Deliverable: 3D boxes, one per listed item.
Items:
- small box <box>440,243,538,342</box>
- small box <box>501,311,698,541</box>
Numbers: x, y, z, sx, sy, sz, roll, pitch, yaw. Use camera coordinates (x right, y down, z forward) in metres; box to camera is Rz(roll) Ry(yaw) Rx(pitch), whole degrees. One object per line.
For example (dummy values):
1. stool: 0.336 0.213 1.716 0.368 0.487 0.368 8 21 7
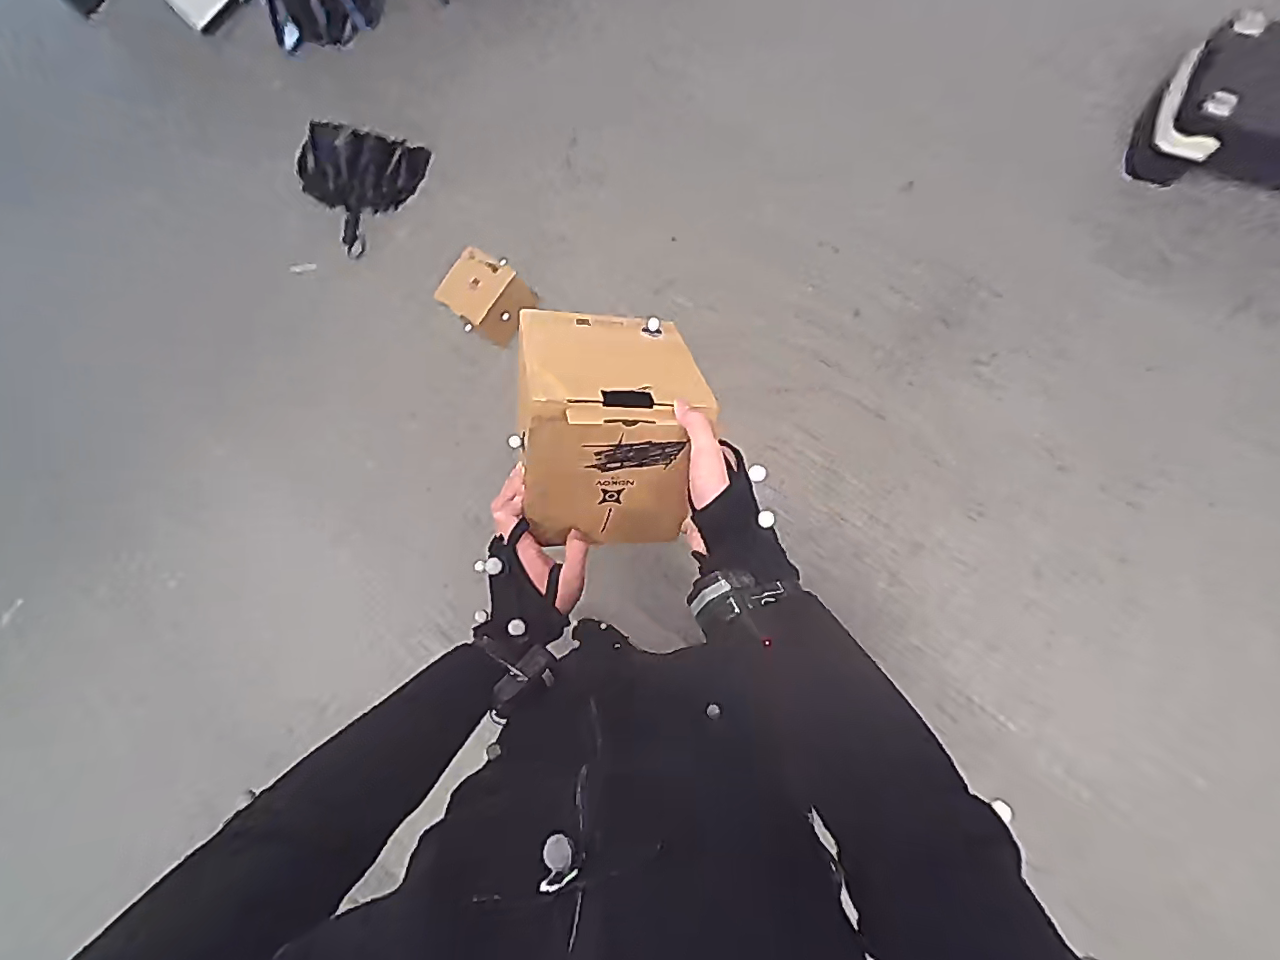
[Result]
1. small box: -0.413 -0.515 1.517 0.168 0.176 0.179 35 89 12
2. small box: -0.057 -0.058 0.561 0.168 0.179 0.176 0 42 -15
